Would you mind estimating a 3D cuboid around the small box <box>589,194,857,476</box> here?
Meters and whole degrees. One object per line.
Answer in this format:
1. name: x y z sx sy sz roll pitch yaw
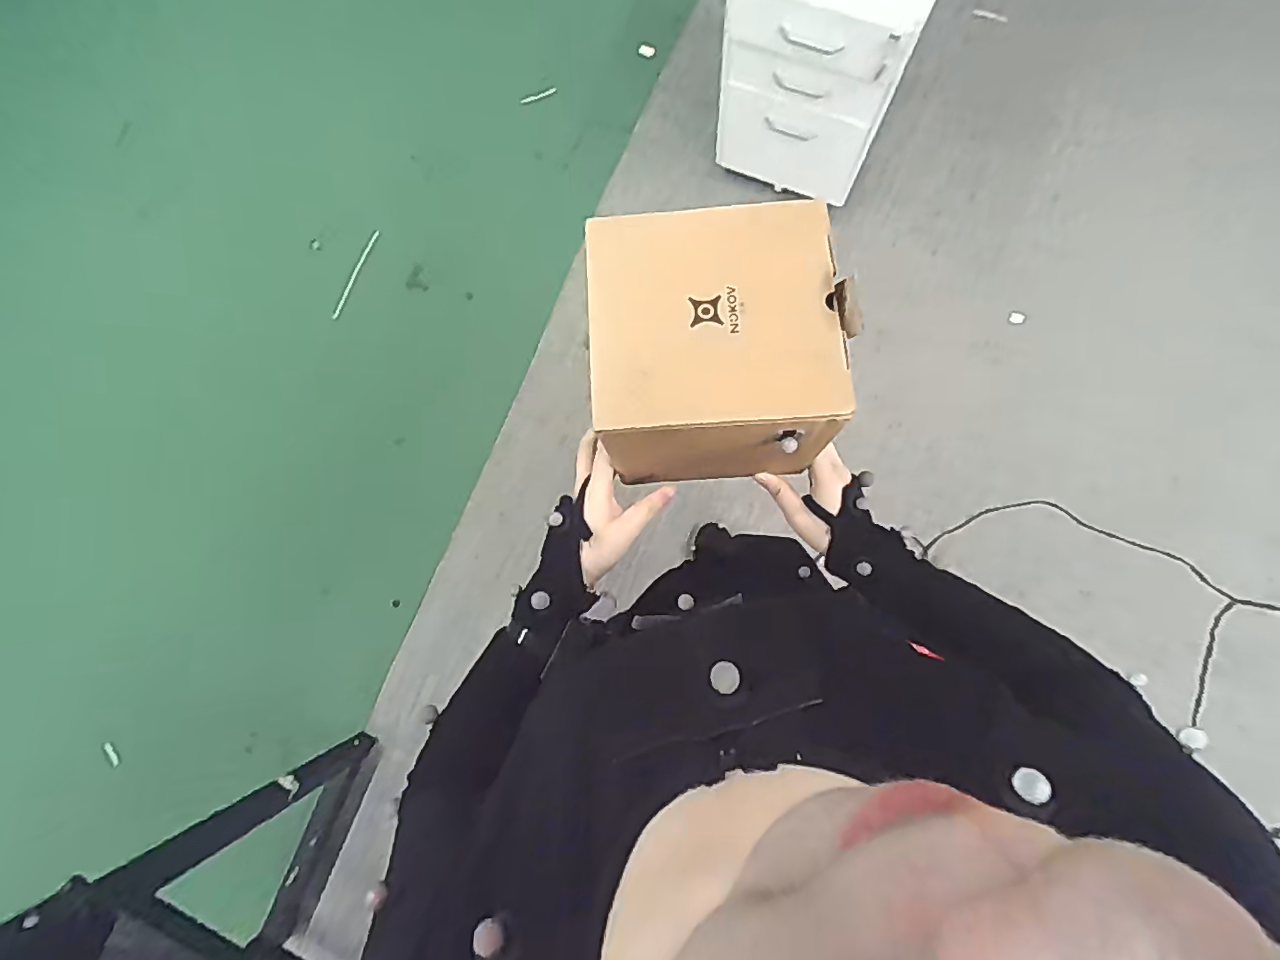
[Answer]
1. small box: 0.058 -0.102 0.450 0.179 0.176 0.168 -3 77 3
